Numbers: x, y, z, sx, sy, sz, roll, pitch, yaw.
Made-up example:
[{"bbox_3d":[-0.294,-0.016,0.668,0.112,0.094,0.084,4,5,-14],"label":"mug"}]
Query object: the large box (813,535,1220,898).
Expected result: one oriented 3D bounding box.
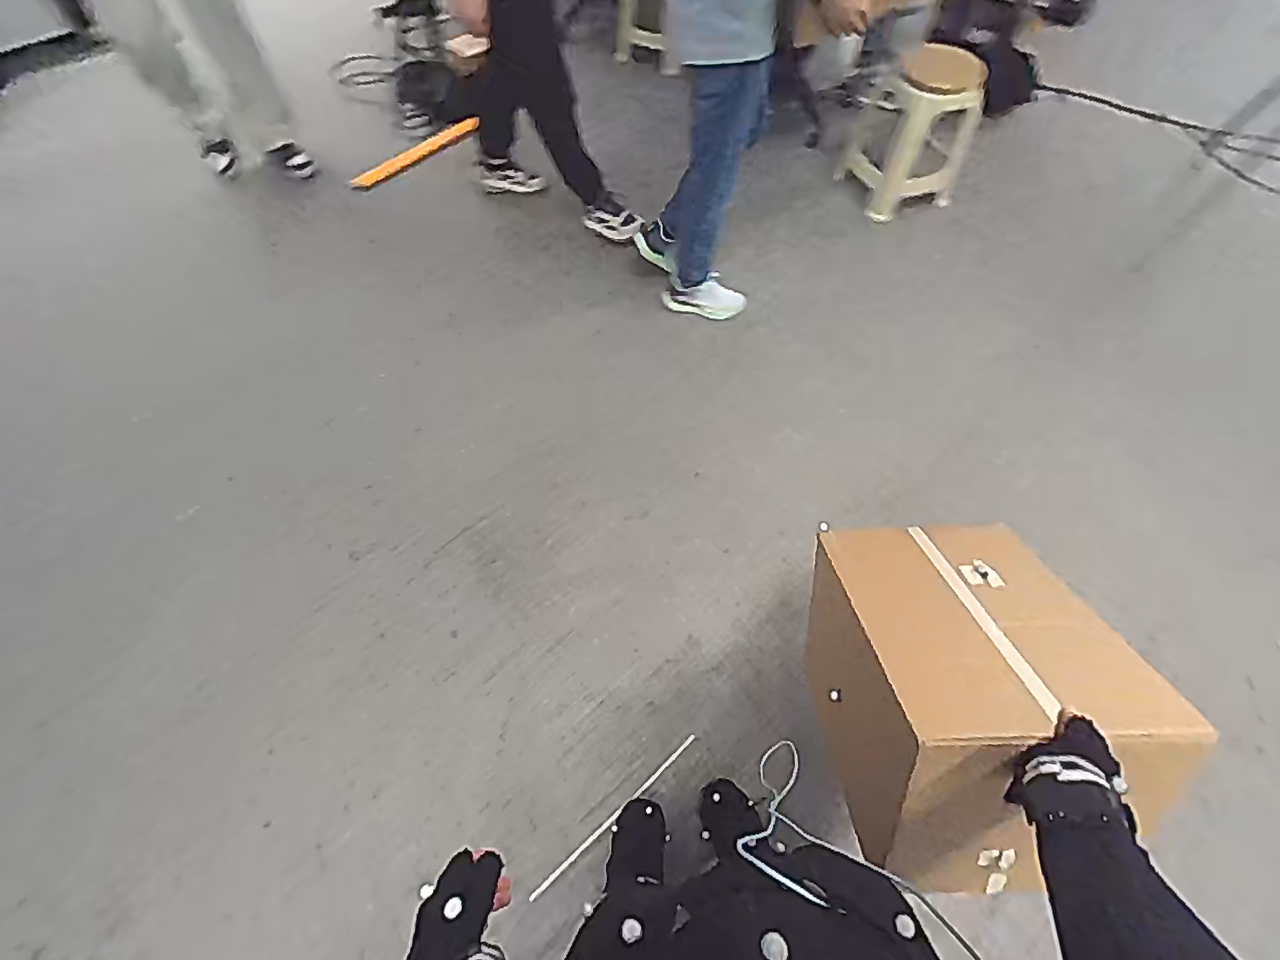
[{"bbox_3d":[0.475,0.326,0.816,0.320,0.320,0.408,-2,28,3],"label":"large box"}]
